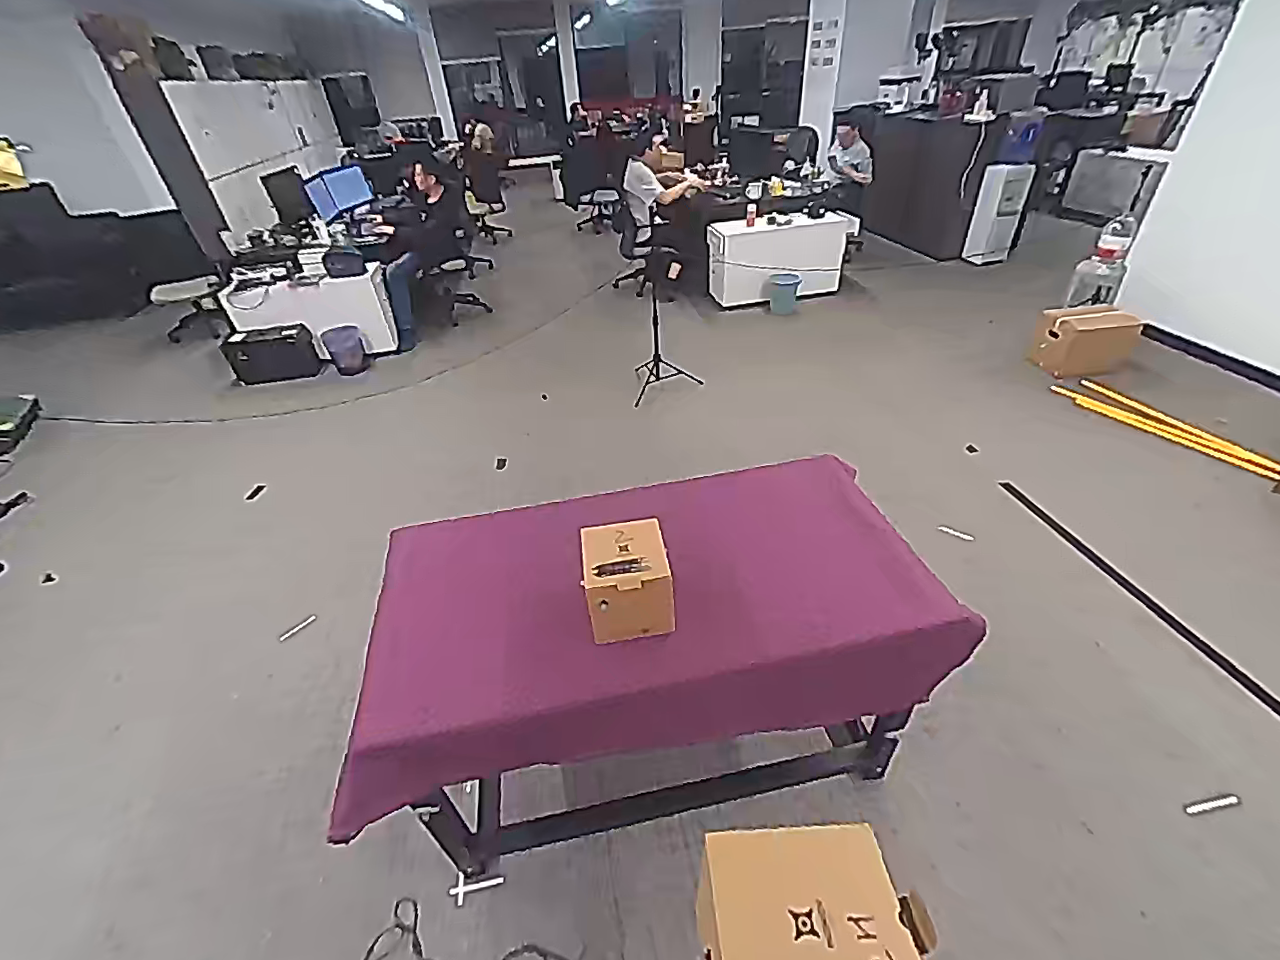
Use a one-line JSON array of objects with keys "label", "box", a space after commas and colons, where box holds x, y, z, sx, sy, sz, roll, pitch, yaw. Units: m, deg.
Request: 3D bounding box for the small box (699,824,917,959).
[{"label": "small box", "box": [0.153, 0.470, 0.530, 0.179, 0.176, 0.168, -1, 31, -2]}]
